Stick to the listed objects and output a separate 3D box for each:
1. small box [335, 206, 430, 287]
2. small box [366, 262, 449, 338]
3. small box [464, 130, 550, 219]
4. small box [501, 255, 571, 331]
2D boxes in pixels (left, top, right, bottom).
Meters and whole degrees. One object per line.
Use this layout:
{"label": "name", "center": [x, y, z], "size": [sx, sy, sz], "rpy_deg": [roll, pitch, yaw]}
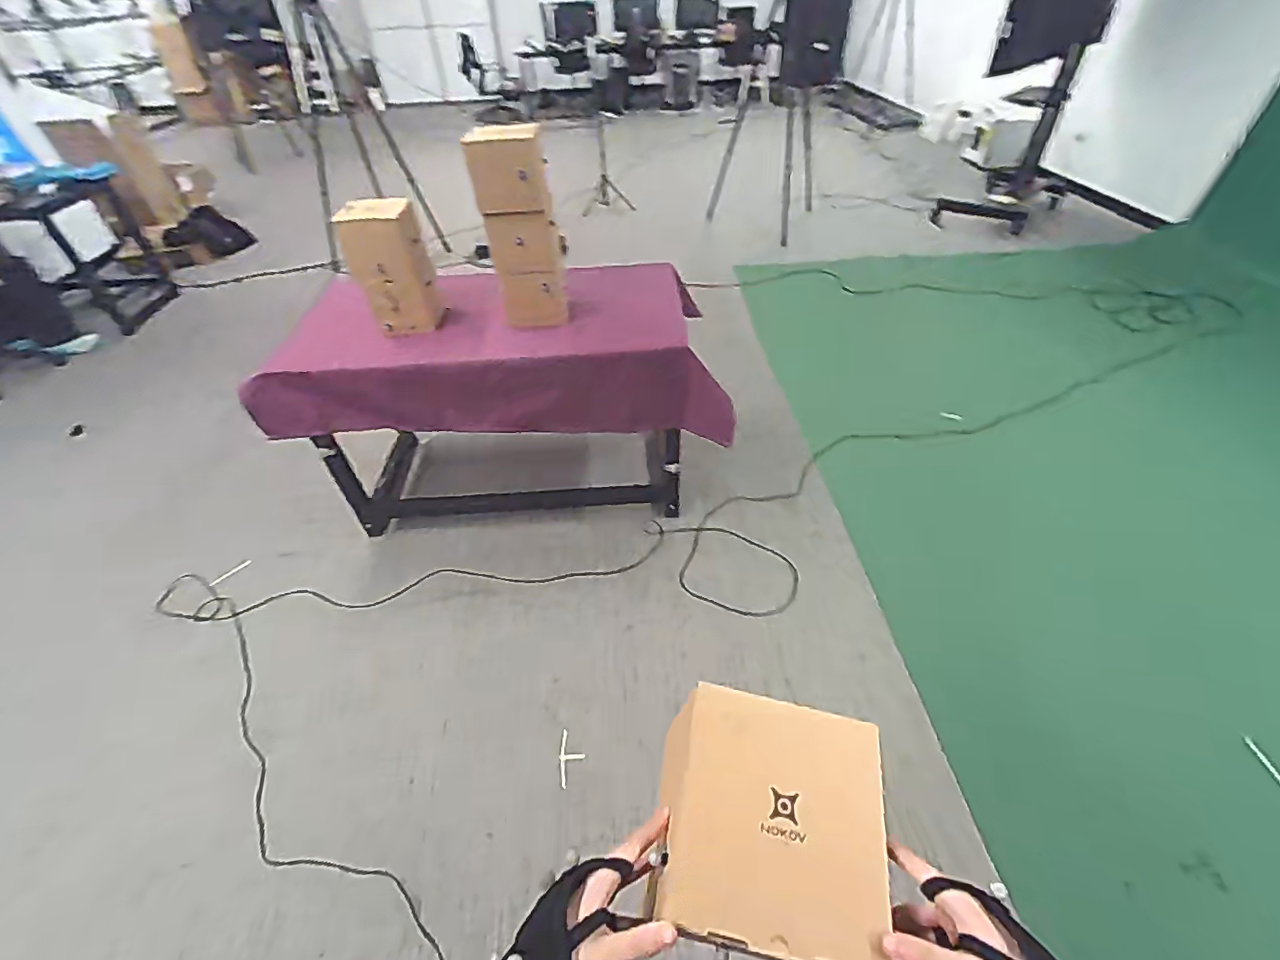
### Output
{"label": "small box", "center": [-0.721, -0.664, 1.541], "size": [0.179, 0.176, 0.168], "rpy_deg": [-2, 43, 0]}
{"label": "small box", "center": [-0.703, -0.546, 1.655], "size": [0.168, 0.176, 0.179], "rpy_deg": [-3, 43, 0]}
{"label": "small box", "center": [-0.339, -0.800, 1.420], "size": [0.179, 0.176, 0.168], "rpy_deg": [-3, 43, 1]}
{"label": "small box", "center": [-0.310, -0.571, 1.653], "size": [0.179, 0.176, 0.168], "rpy_deg": [-3, 43, 1]}
